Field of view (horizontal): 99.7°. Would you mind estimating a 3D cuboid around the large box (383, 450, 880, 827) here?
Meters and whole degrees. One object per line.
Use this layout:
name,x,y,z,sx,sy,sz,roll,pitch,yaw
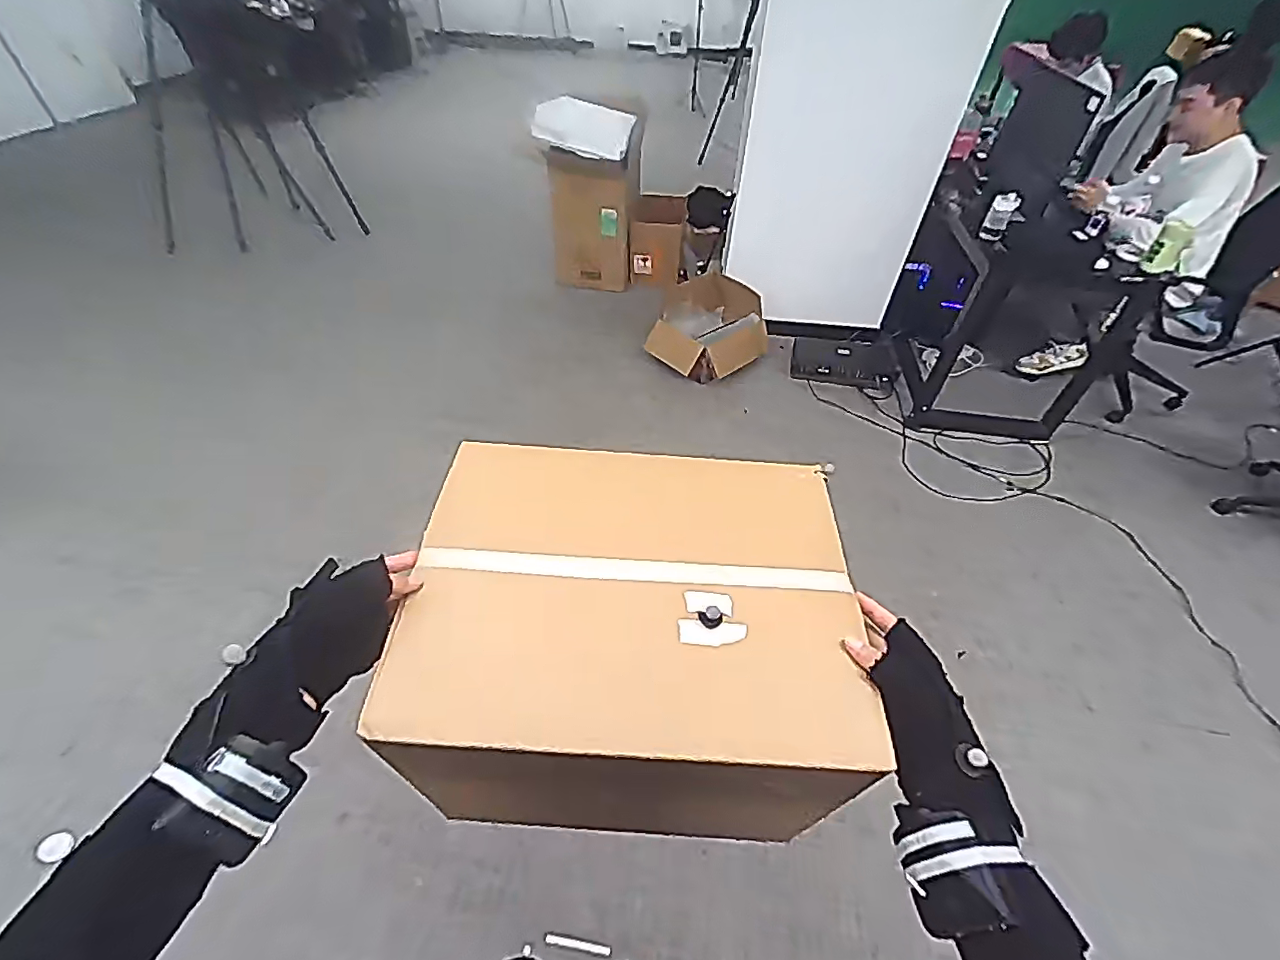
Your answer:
large box,-0.011,0.190,0.631,0.408,0.320,0.320,5,49,-1
